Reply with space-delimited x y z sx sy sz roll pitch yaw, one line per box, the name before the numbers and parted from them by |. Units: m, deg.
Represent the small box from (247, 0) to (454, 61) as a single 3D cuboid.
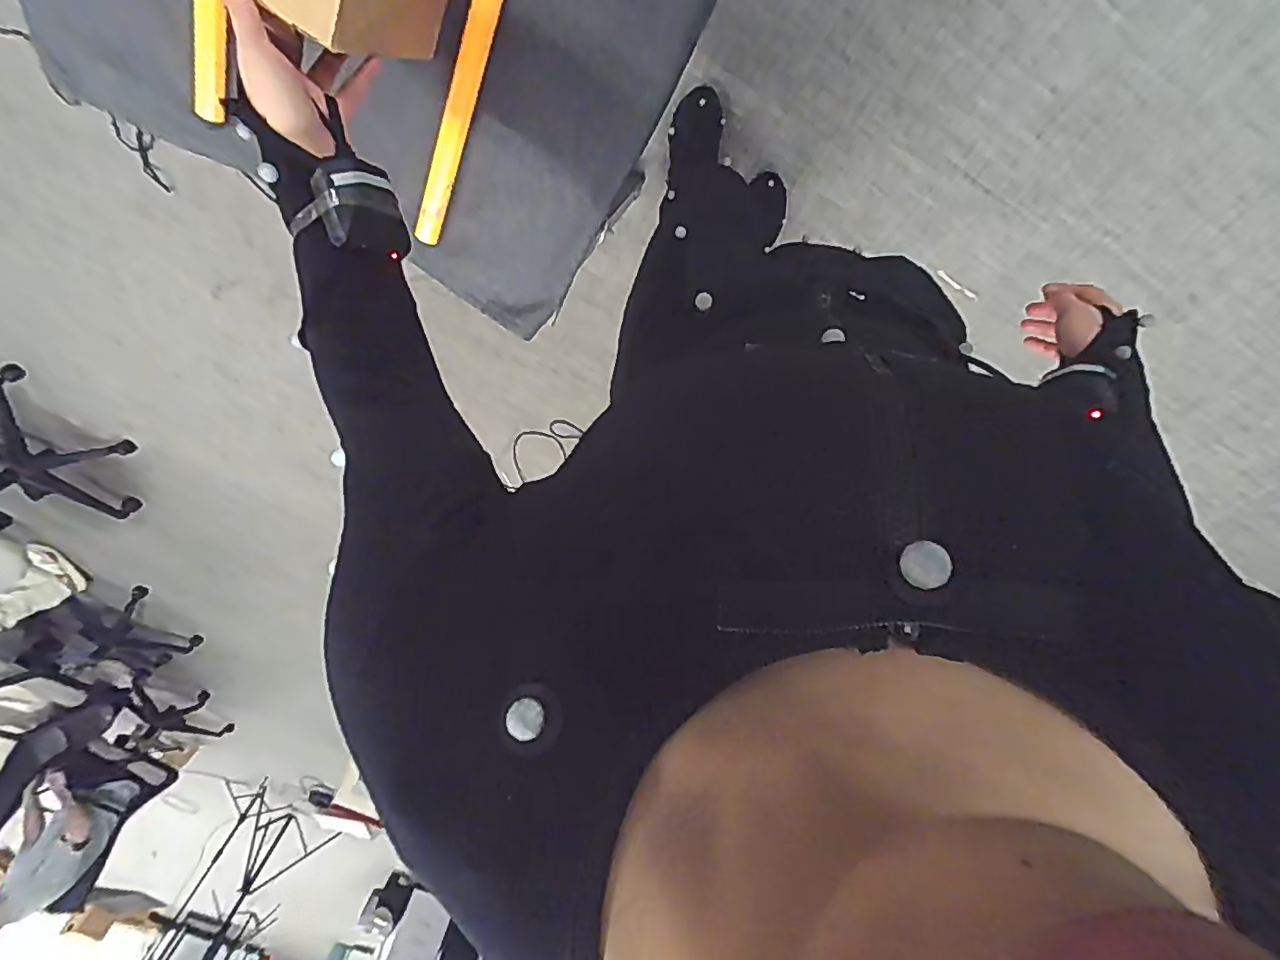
small box | -0.239 -0.459 0.411 0.168 0.176 0.179 29 125 -12
